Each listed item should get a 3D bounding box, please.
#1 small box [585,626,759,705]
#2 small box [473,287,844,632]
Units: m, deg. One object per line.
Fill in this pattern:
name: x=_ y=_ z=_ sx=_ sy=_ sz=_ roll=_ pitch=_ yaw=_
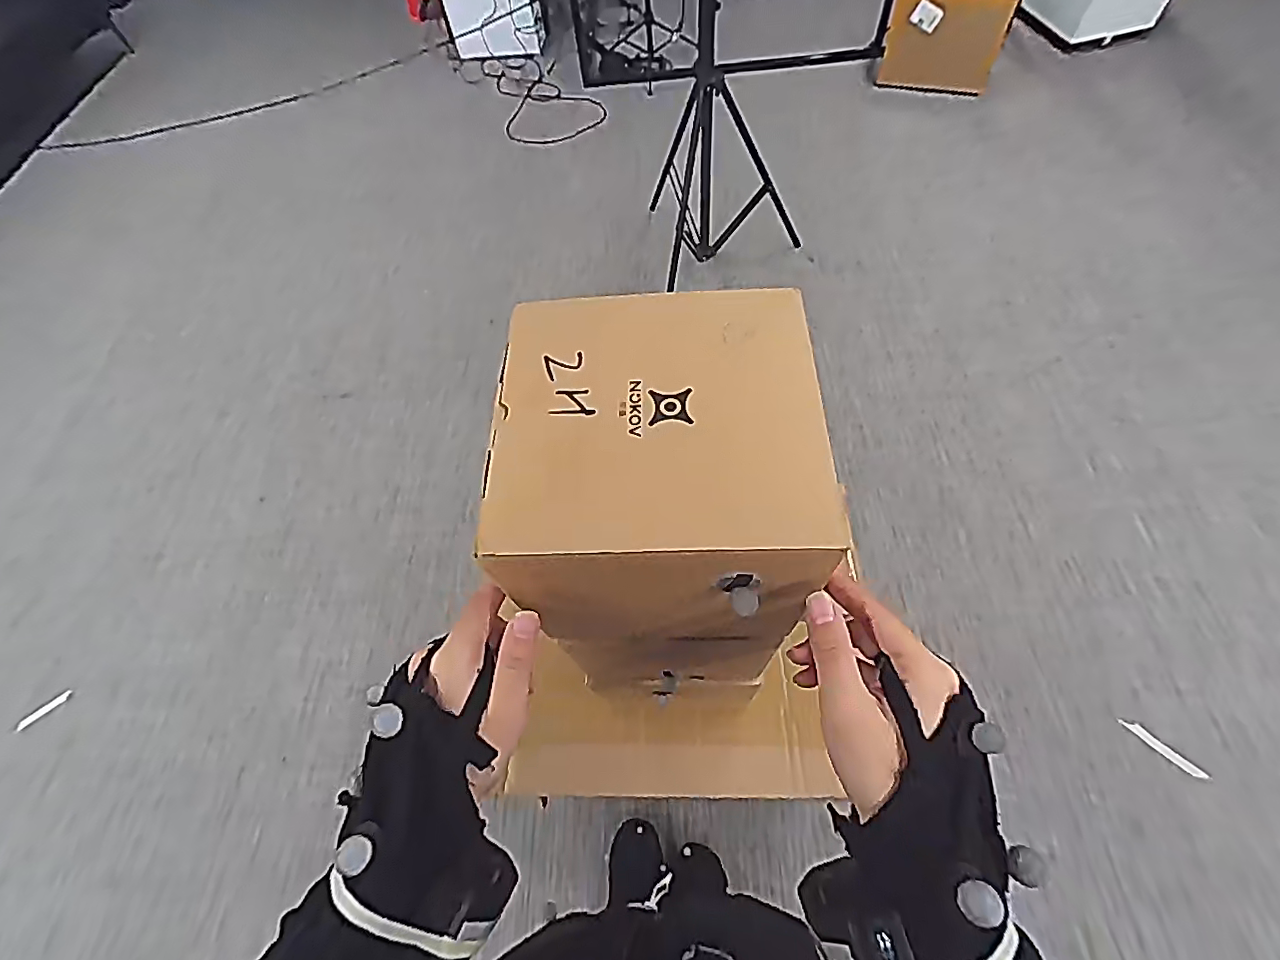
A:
small box: x=0.039 y=0.167 z=0.639 sx=0.179 sy=0.176 sz=0.168 roll=-2 pitch=60 yaw=4
small box: x=0.014 y=-0.002 z=0.357 sx=0.179 sy=0.176 sz=0.168 roll=-2 pitch=60 yaw=4
